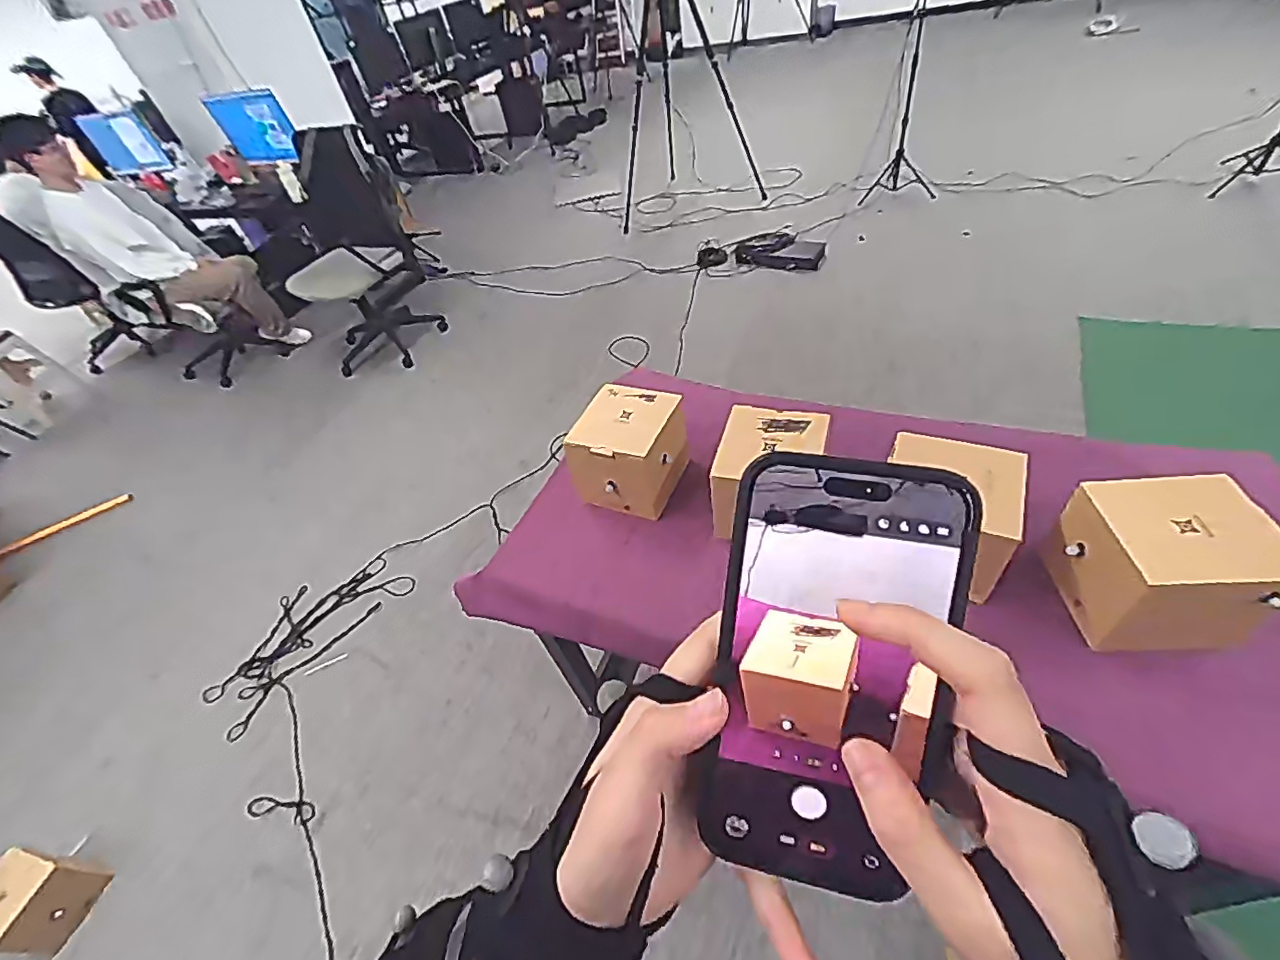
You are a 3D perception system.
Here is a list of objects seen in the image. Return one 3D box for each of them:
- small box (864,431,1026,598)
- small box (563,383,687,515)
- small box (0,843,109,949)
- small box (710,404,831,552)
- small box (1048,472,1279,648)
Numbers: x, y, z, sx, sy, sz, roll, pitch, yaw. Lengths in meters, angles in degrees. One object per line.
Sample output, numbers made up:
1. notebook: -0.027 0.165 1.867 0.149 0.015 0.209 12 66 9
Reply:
1. small box: 0.454 0.054 0.823 0.179 0.176 0.168 15 53 25
2. small box: -0.017 -0.058 1.035 0.168 0.176 0.179 13 52 24
3. small box: -1.503 1.032 1.341 0.179 0.176 0.168 5 49 18
4. small box: 0.225 -0.005 0.930 0.168 0.176 0.179 9 50 21
5. small box: 0.682 0.110 0.716 0.179 0.176 0.168 -4 46 9
